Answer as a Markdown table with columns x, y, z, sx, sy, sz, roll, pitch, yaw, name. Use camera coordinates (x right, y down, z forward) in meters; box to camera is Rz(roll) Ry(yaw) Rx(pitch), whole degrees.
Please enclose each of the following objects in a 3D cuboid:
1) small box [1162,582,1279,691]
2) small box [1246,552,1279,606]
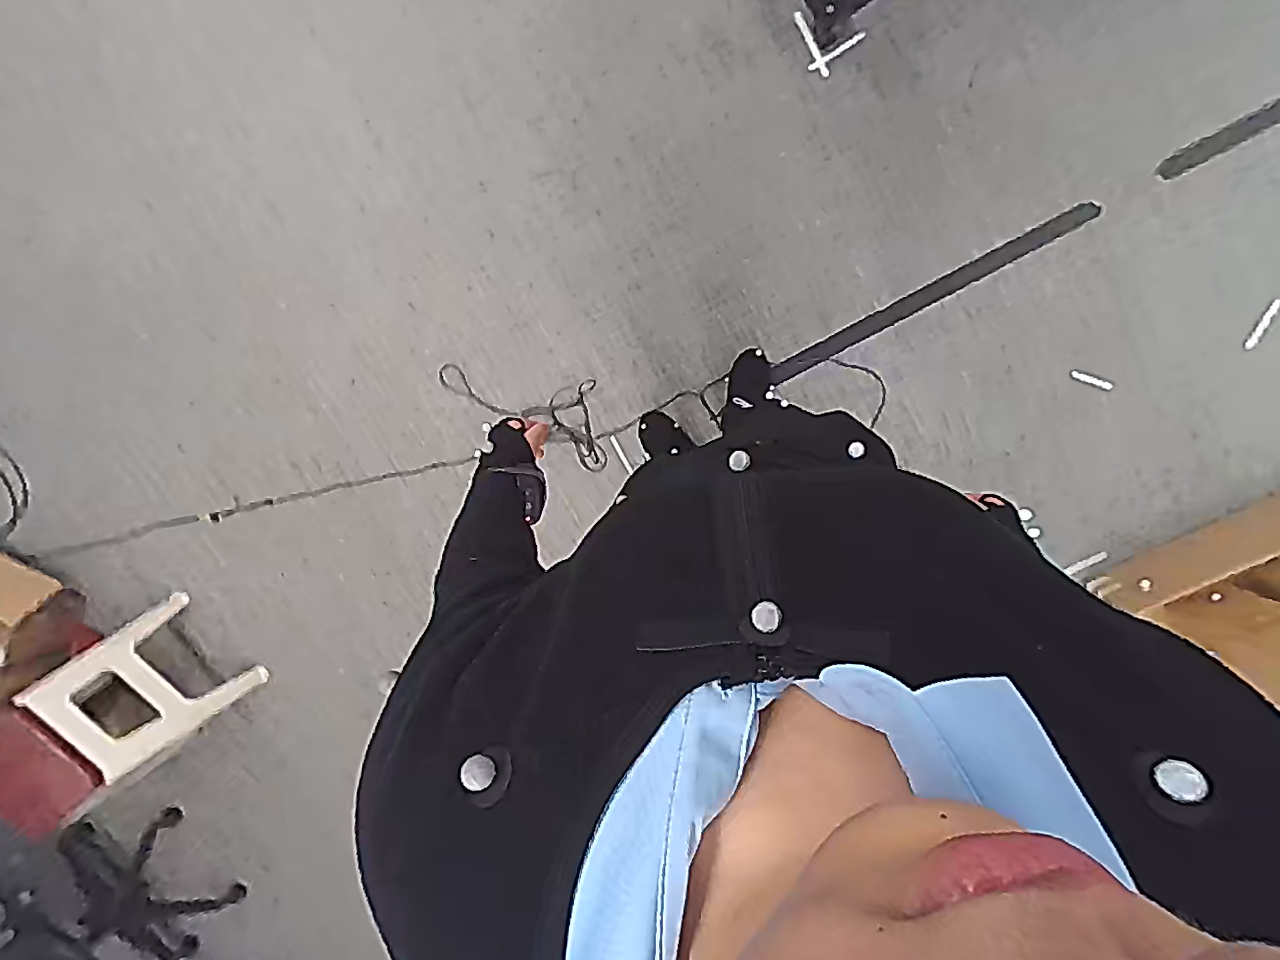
| x | y | z | sx | sy | sz | roll | pitch | yaw | name |
| --- | --- | --- | --- | --- | --- | --- | --- | --- | --- |
| 1.499 | 0.391 | 1.373 | 0.168 | 0.176 | 0.179 | -25 | 99 | 7 | small box |
| 1.673 | 0.272 | 1.328 | 0.168 | 0.176 | 0.179 | -31 | 99 | 12 | small box |
